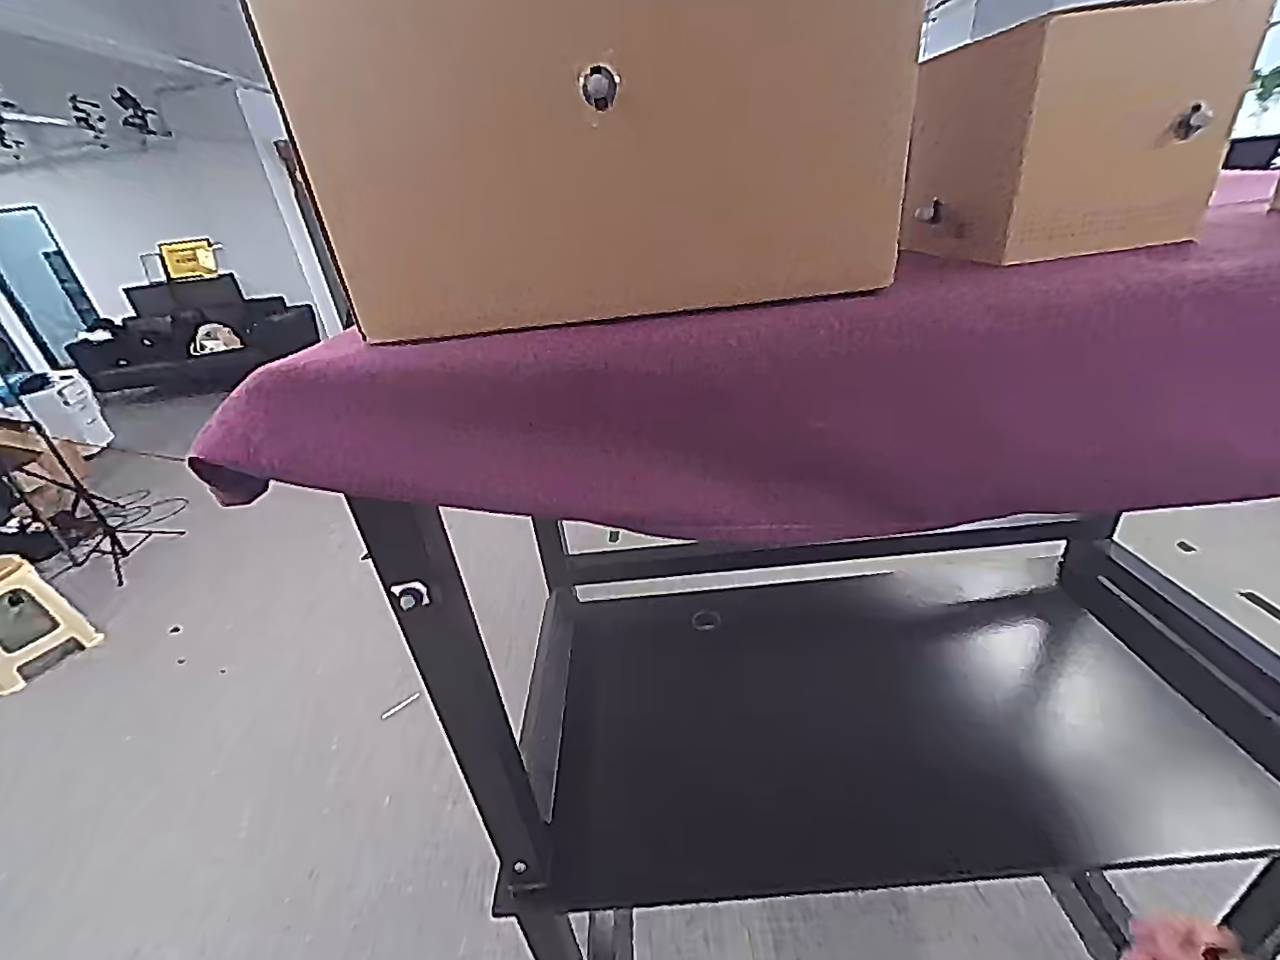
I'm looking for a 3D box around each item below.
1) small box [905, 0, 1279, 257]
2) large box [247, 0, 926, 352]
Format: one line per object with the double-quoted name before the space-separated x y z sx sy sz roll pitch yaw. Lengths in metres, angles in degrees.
"small box" 0.363 -0.303 0.476 0.179 0.176 0.168 -9 27 -2
"large box" -0.028 -0.323 0.464 0.408 0.320 0.320 -7 28 2
